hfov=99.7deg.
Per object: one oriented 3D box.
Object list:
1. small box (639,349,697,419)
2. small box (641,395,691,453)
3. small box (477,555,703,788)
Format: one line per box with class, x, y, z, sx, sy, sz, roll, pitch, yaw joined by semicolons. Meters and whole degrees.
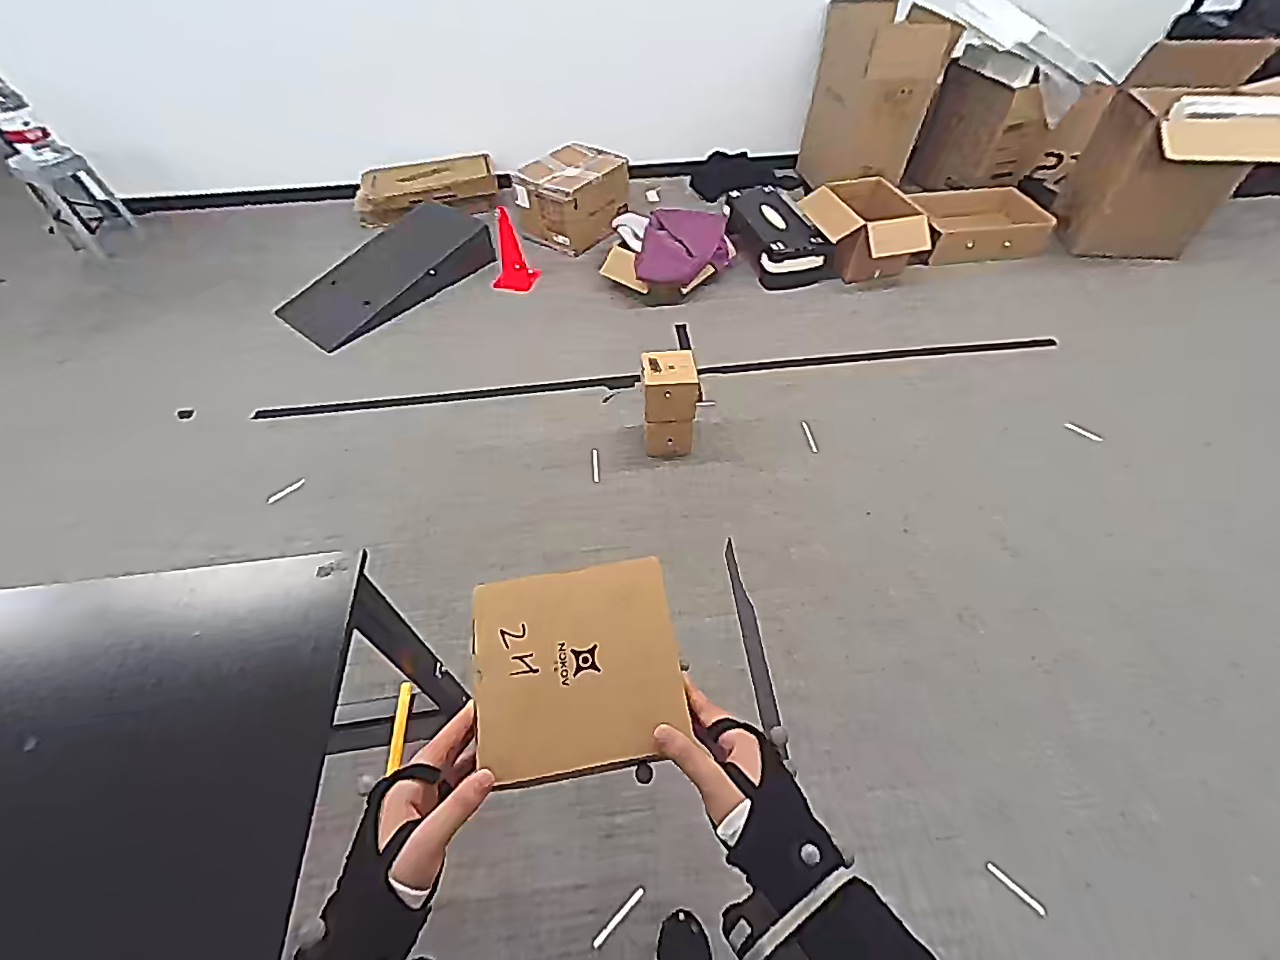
small box;0.091;-0.319;1.823;0.179;0.176;0.168;-4;51;-2
small box;0.094;-0.210;1.948;0.168;0.176;0.179;-4;52;-2
small box;-0.047;0.189;0.523;0.179;0.176;0.168;-9;61;-3
